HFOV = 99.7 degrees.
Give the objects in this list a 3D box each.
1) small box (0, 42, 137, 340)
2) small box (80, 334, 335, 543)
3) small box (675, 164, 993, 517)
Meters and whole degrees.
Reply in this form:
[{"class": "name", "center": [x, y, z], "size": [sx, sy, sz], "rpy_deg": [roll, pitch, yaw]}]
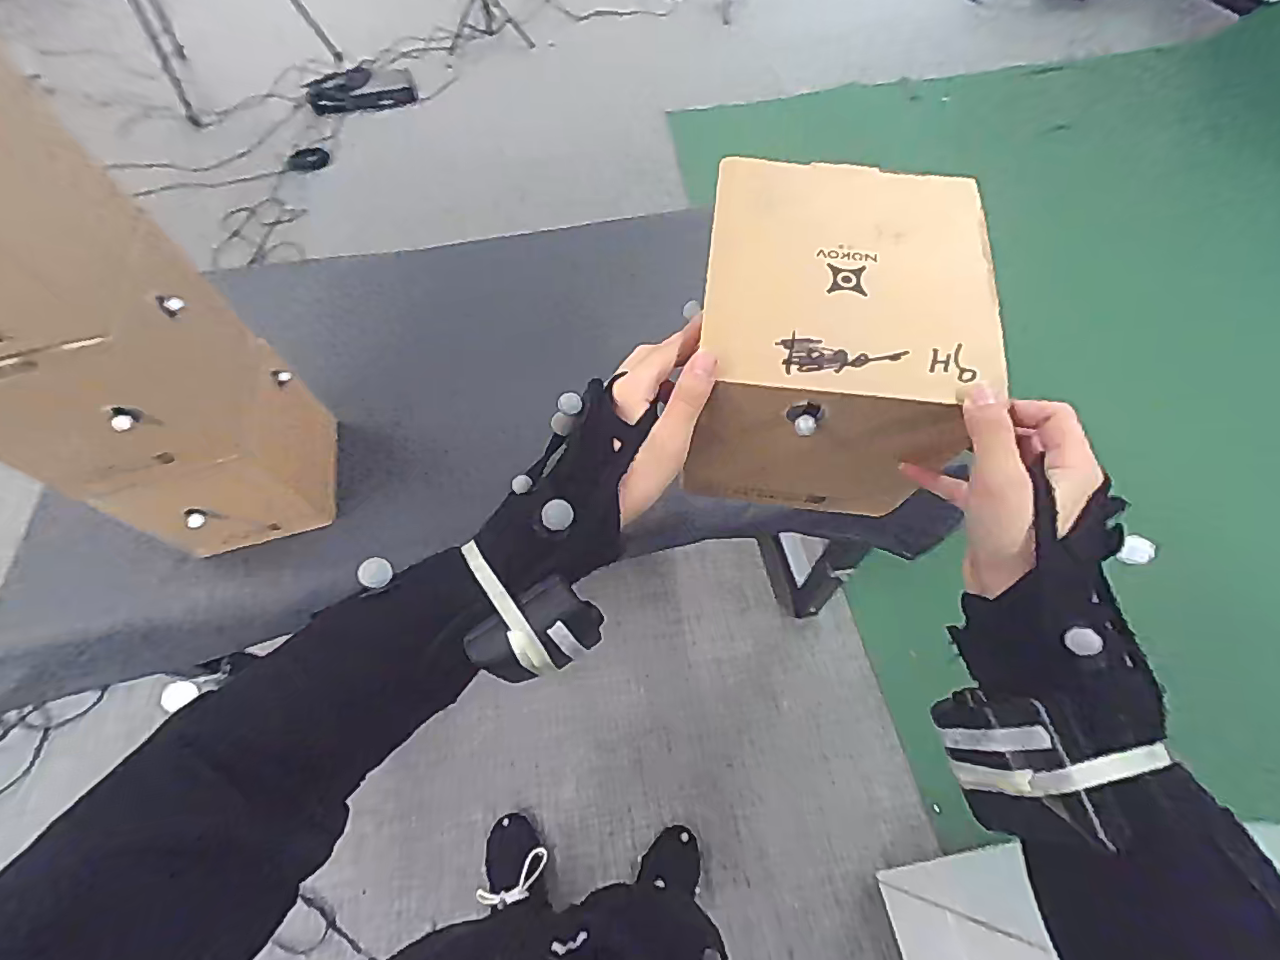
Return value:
[{"class": "small box", "center": [-0.499, -0.205, 0.365], "size": [0.168, 0.176, 0.179], "rpy_deg": [-16, 59, -9]}, {"class": "small box", "center": [-0.489, -0.039, 0.647], "size": [0.168, 0.176, 0.179], "rpy_deg": [-14, 60, -6]}, {"class": "small box", "center": [0.117, -0.091, 0.398], "size": [0.168, 0.176, 0.179], "rpy_deg": [7, 66, 3]}]
